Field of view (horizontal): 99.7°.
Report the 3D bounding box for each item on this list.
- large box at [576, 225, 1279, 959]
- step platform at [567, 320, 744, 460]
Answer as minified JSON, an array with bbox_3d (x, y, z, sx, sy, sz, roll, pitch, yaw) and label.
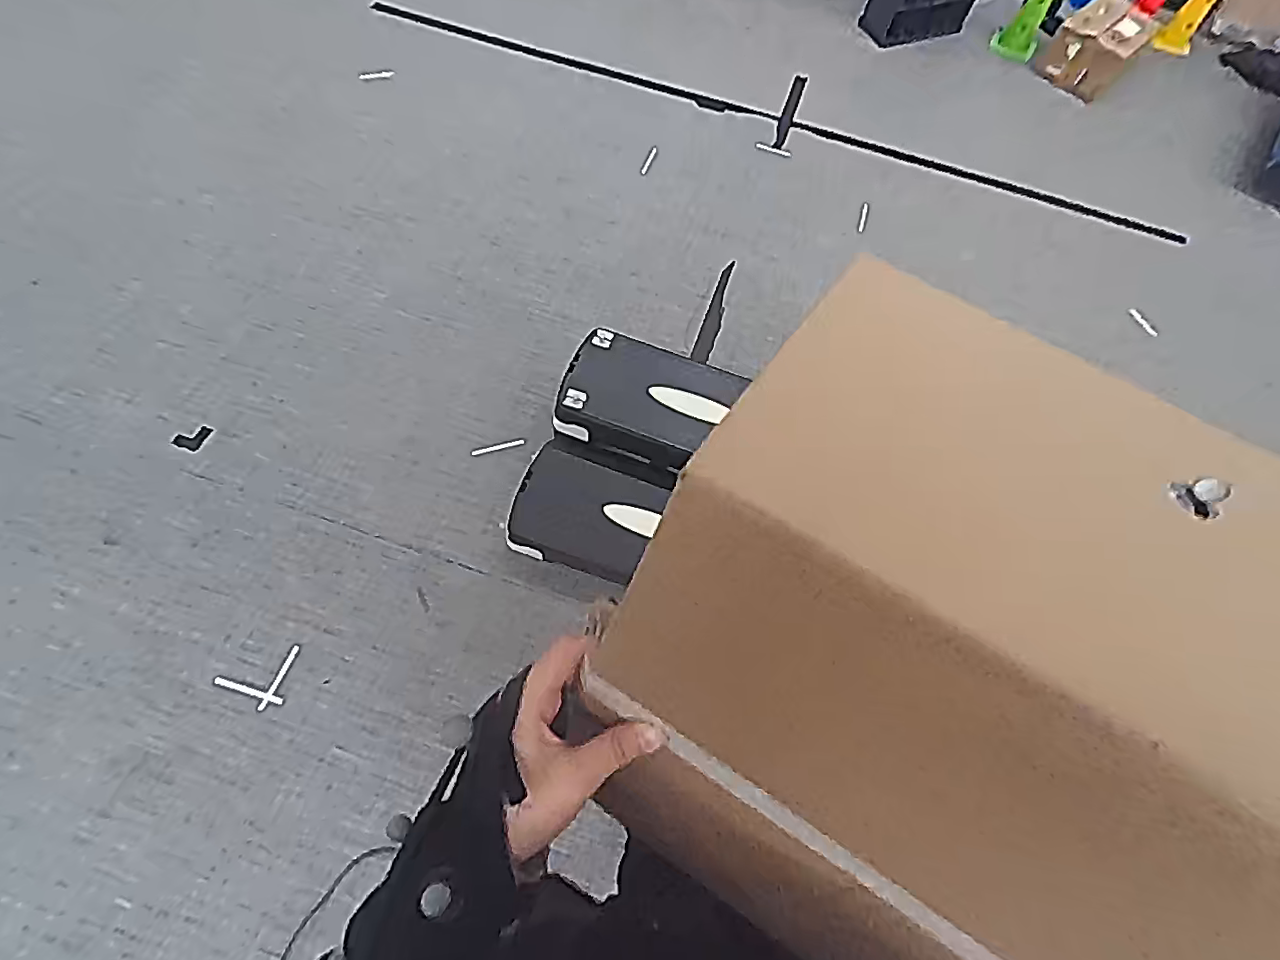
[{"bbox_3d":[0.227,0.091,0.346,0.408,0.320,0.320,31,45,10],"label":"large box"},{"bbox_3d":[0.161,-0.148,1.389,0.684,0.204,0.286,25,65,5],"label":"step platform"}]
